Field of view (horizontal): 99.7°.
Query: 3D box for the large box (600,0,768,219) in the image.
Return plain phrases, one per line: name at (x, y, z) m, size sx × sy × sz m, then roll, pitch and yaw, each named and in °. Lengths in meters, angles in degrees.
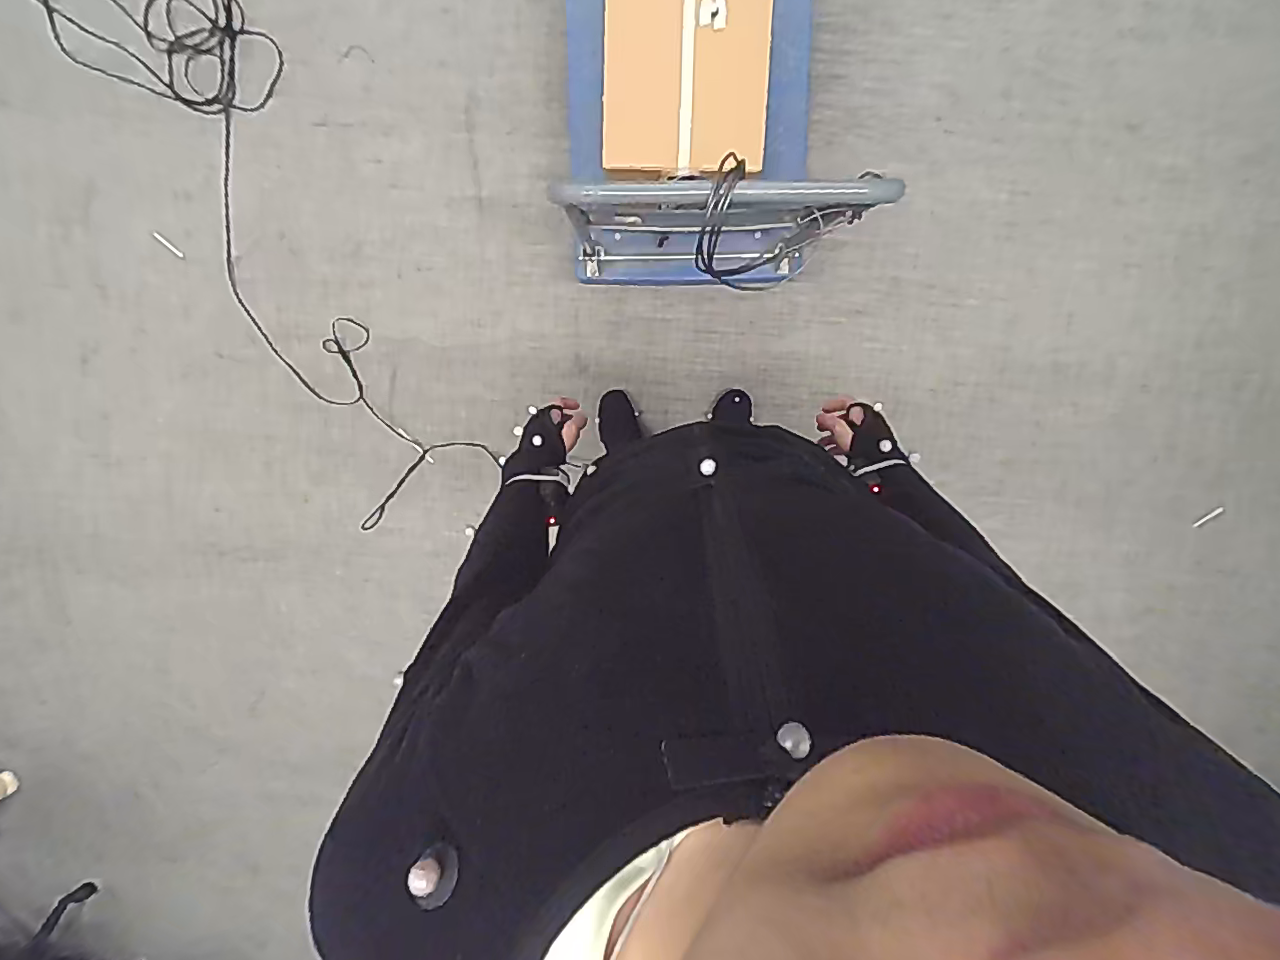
large box at (0.085, -0.820, 1.168) m, size 0.320 × 0.320 × 0.408 m, roll 2°, pitch 99°, yaw 0°
